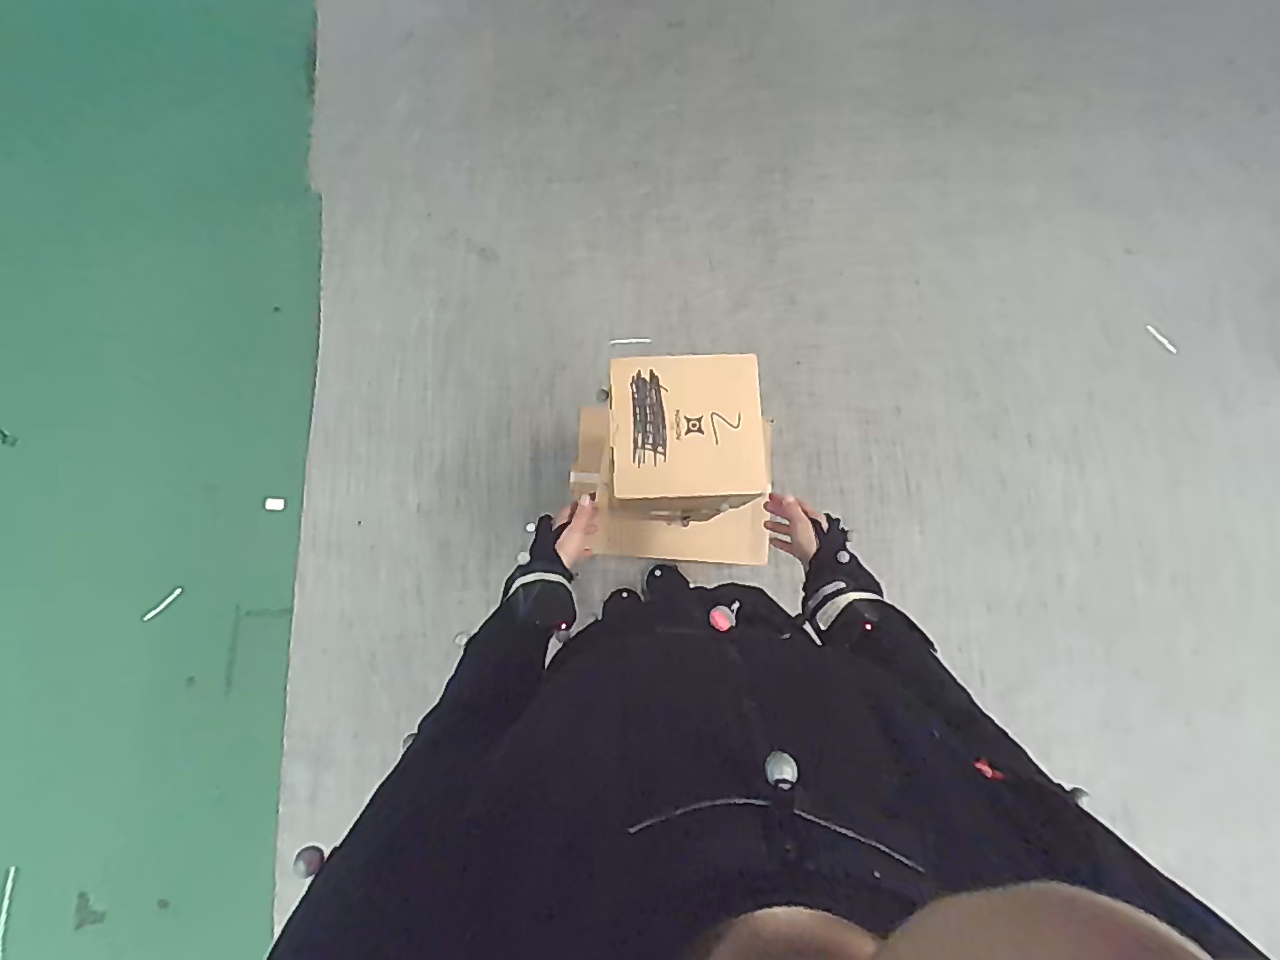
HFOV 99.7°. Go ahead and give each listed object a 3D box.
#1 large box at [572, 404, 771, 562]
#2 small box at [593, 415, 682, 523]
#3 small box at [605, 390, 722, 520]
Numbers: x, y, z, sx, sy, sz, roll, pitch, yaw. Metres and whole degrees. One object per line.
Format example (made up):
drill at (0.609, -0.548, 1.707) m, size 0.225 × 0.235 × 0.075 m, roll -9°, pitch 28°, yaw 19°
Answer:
large box at (0.064, 0.024, 1.252) m, size 0.408 × 0.320 × 0.320 m, roll 4°, pitch 82°, yaw 0°
small box at (0.018, -0.016, 1.014) m, size 0.179 × 0.176 × 0.168 m, roll 10°, pitch 81°, yaw 2°
small box at (0.034, -0.030, 0.852) m, size 0.168 × 0.176 × 0.179 m, roll 2°, pitch 80°, yaw -1°
